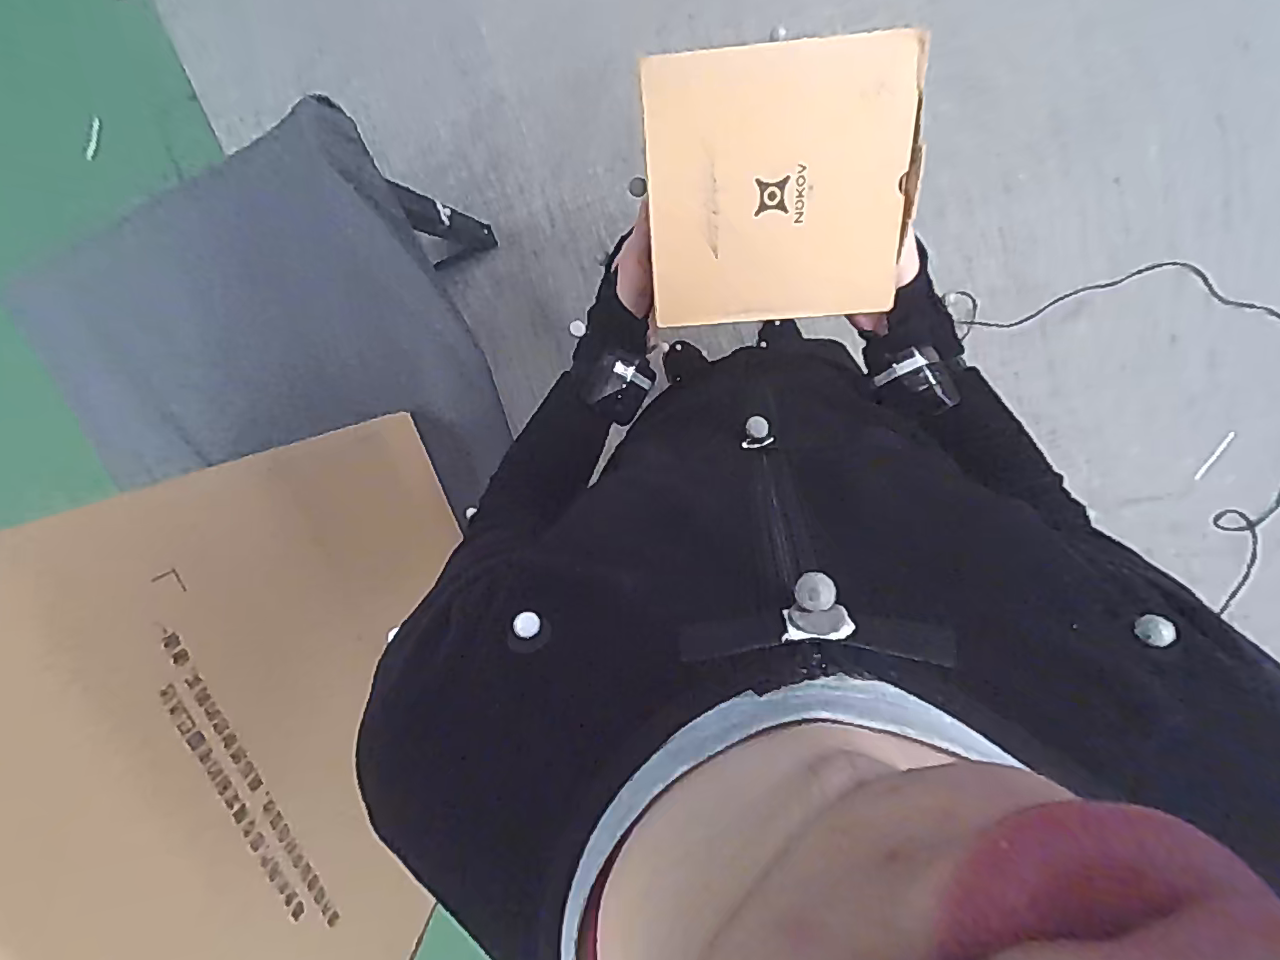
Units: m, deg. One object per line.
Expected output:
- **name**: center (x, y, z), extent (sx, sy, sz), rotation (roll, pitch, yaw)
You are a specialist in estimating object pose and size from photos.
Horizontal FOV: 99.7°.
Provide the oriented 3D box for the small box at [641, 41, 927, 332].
- **small box**: center (0.095, -0.225, 0.435), extent (0.179, 0.176, 0.168), rotation (-3, 118, 5)
